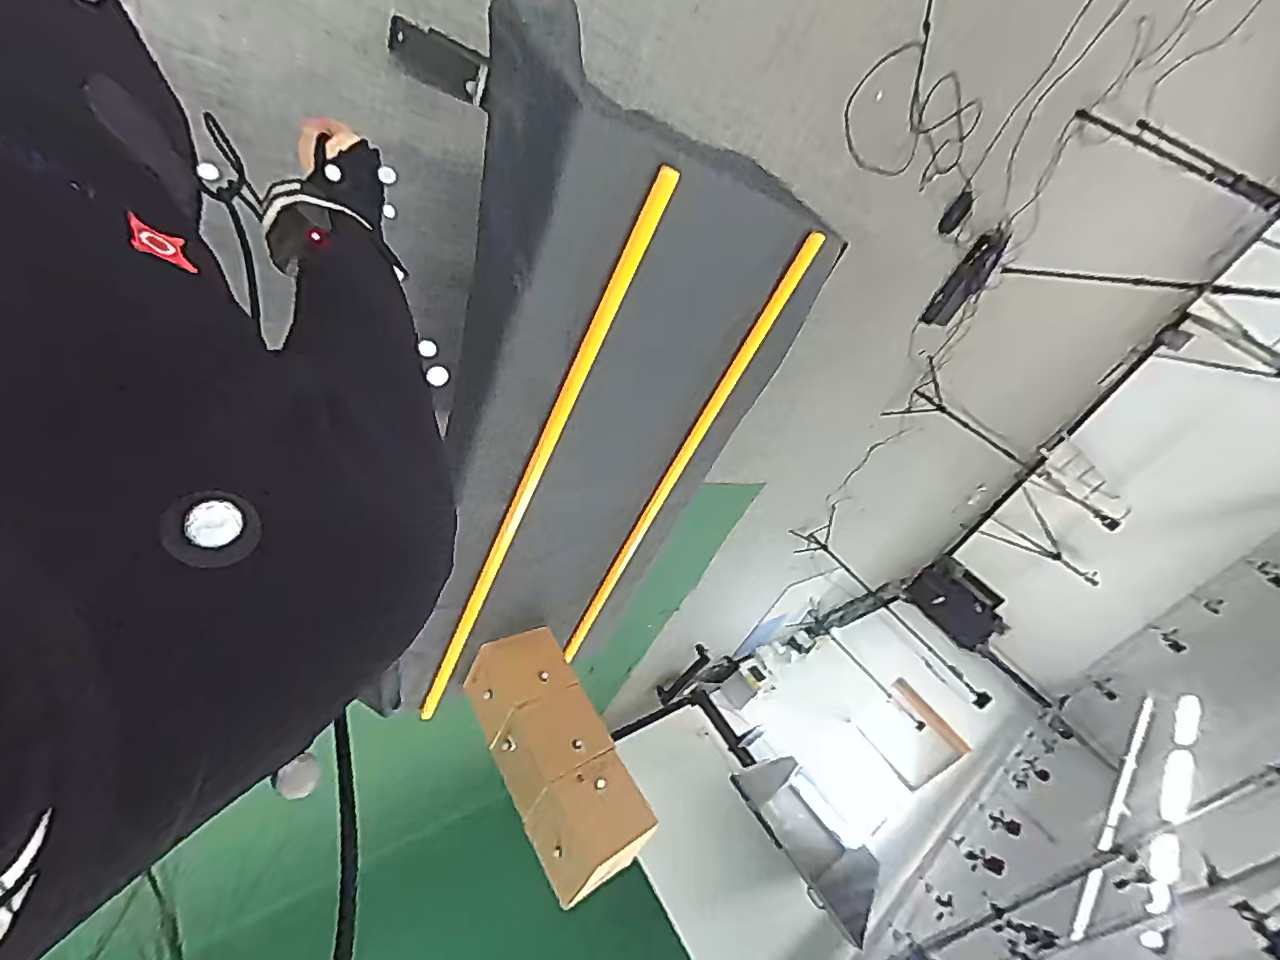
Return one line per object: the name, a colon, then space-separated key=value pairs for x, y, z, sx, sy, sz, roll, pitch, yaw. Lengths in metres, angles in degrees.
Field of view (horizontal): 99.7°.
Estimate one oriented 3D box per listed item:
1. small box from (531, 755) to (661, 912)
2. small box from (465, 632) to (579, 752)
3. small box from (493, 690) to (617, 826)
small box: x=-0.094 y=0.687 z=1.068 sx=0.168 sy=0.176 sz=0.179 roll=-6 pitch=131 yaw=-44
small box: x=-0.276 y=0.478 z=1.242 sx=0.179 sy=0.176 sz=0.168 roll=-3 pitch=131 yaw=-45
small box: x=-0.186 y=0.584 z=1.159 sx=0.179 sy=0.176 sz=0.168 roll=-5 pitch=131 yaw=-43
